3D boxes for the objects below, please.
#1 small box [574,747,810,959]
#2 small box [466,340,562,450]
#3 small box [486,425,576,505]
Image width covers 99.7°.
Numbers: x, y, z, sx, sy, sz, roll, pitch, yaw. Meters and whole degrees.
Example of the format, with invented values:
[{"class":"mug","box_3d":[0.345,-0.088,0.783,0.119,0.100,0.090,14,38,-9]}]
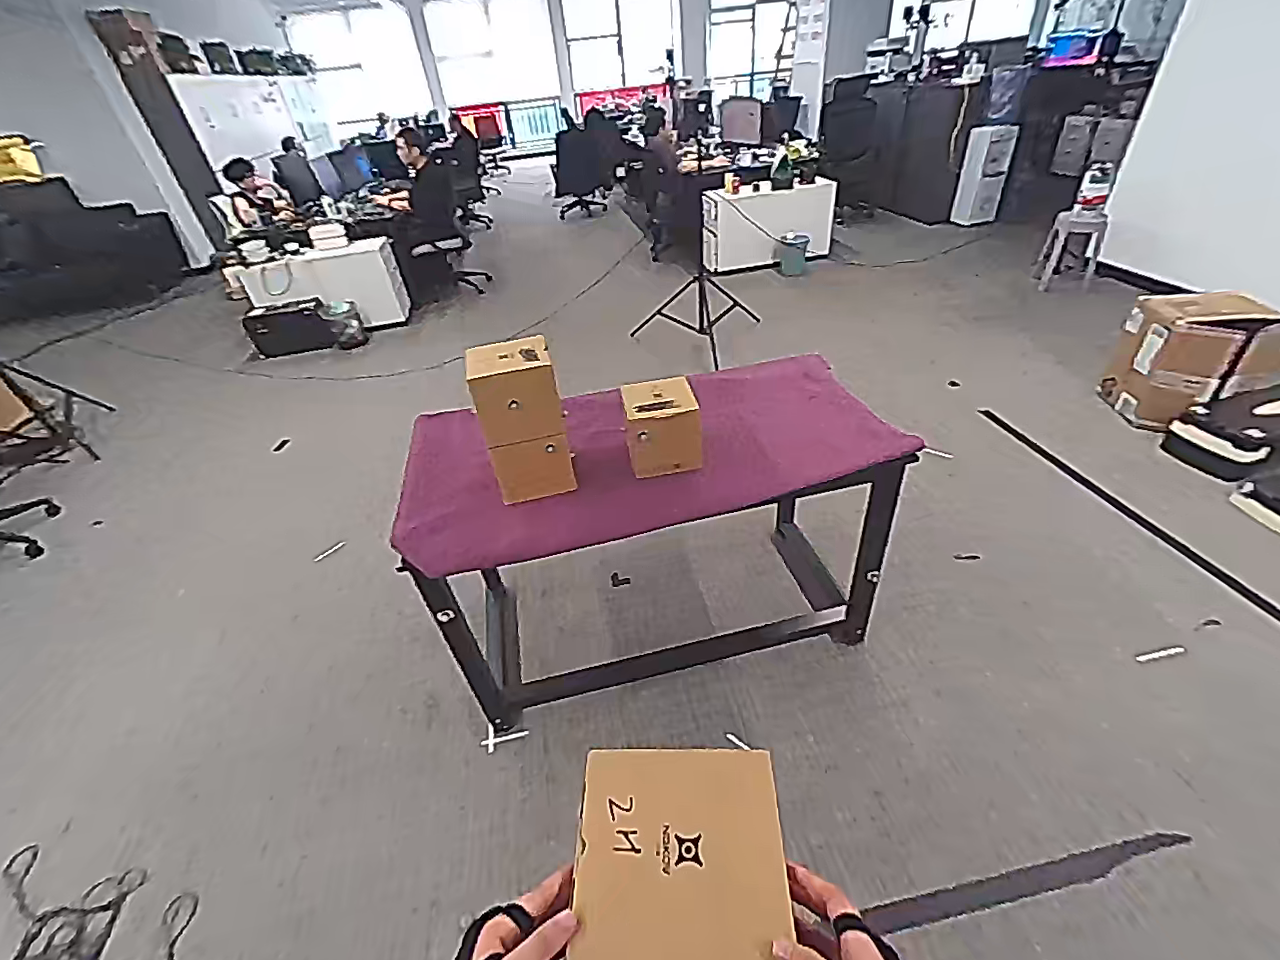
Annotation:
[{"class":"small box","box_3d":[0.048,0.371,0.503,0.179,0.176,0.168,-3,37,6]},{"class":"small box","box_3d":[-0.276,-0.189,1.199,0.179,0.176,0.168,-13,37,-9]},{"class":"small box","box_3d":[-0.264,-0.061,1.302,0.179,0.176,0.168,-13,38,-9]}]
